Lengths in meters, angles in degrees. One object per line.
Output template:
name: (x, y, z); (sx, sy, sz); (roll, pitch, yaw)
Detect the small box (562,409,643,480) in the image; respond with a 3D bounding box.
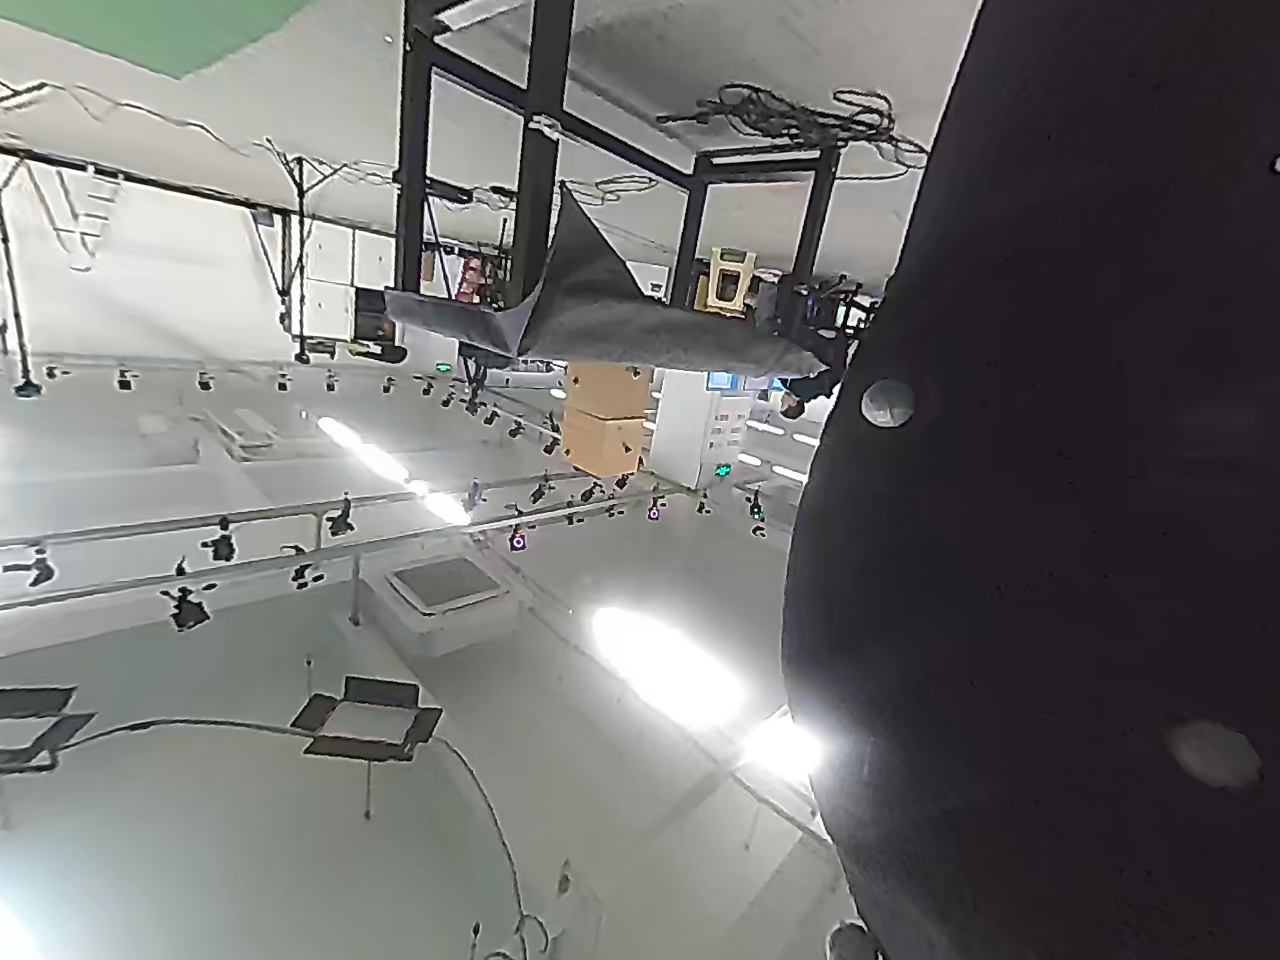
small box: (-0.106, -0.117, 1.582); (0.179, 0.176, 0.168); (25, -156, 38)

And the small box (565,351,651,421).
small box: (-0.089, -0.272, 1.536); (0.179, 0.176, 0.168); (22, -158, 37)
